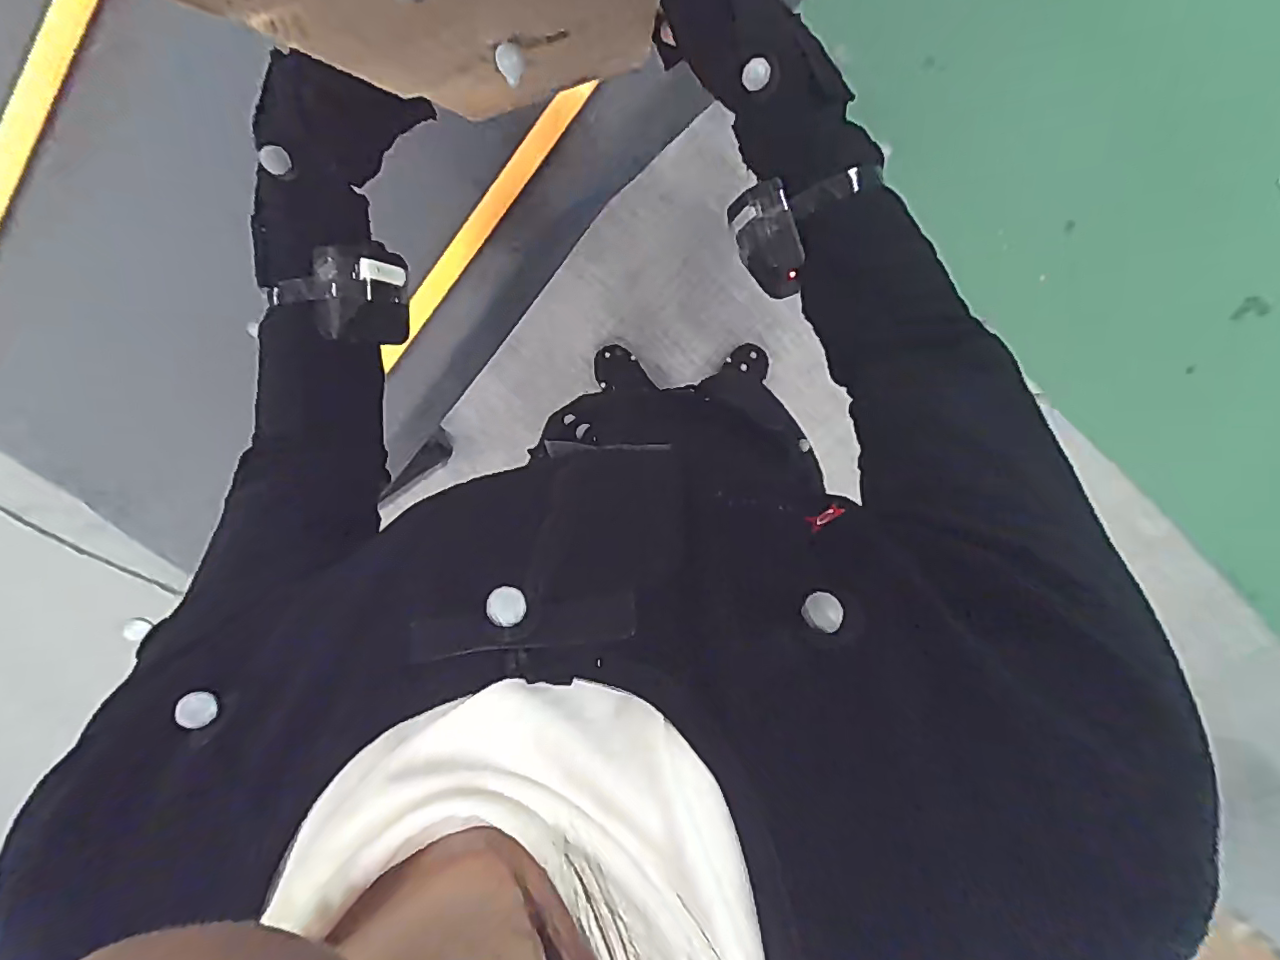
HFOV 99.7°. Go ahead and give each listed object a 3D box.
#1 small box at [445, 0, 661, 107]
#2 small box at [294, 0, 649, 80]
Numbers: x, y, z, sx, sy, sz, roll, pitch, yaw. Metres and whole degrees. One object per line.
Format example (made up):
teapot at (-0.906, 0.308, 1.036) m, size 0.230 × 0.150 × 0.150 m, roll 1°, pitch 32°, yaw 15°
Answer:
small box at (-0.088, -0.383, 0.361) m, size 0.168 × 0.176 × 0.179 m, roll -14°, pitch 118°, yaw 6°
small box at (-0.085, -0.300, 0.218) m, size 0.168 × 0.176 × 0.179 m, roll -14°, pitch 118°, yaw 6°
